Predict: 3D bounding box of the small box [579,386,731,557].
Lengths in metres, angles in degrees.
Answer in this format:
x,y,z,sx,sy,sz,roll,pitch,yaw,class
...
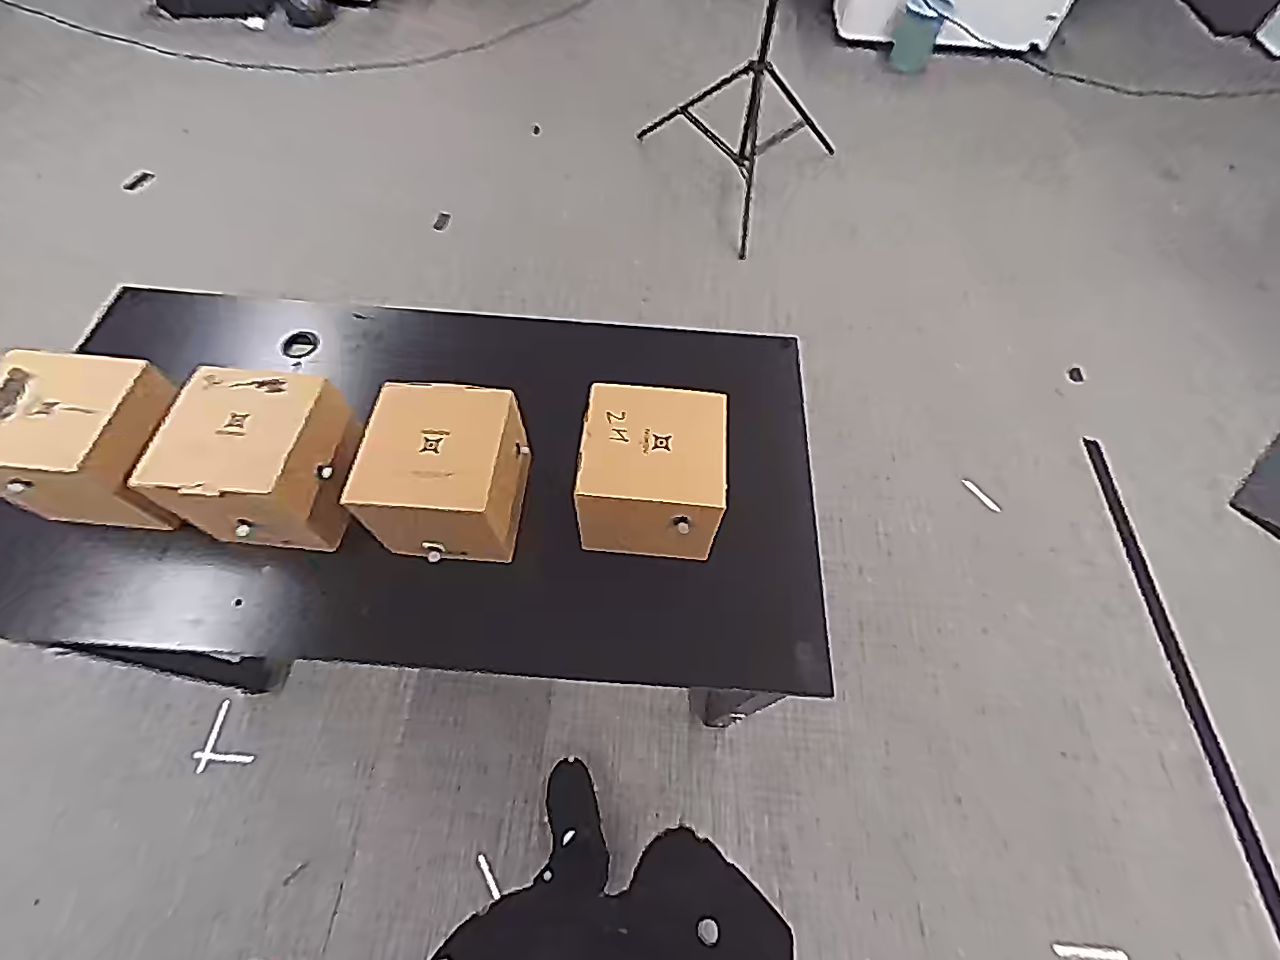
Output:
x,y,z,sx,sy,sz,roll,pitch,yaw,class
0.020,-0.004,0.731,0.179,0.176,0.168,5,61,1,small box

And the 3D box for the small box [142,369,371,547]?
x,y,z,sx,sy,sz,roll,pitch,yaw,class
-0.483,-0.022,0.722,0.168,0.176,0.179,5,61,-1,small box

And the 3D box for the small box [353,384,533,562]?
x,y,z,sx,sy,sz,roll,pitch,yaw,class
-0.244,-0.005,0.725,0.168,0.176,0.179,3,62,1,small box

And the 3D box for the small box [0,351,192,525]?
x,y,z,sx,sy,sz,roll,pitch,yaw,class
-0.713,-0.049,0.726,0.179,0.176,0.168,5,62,0,small box
